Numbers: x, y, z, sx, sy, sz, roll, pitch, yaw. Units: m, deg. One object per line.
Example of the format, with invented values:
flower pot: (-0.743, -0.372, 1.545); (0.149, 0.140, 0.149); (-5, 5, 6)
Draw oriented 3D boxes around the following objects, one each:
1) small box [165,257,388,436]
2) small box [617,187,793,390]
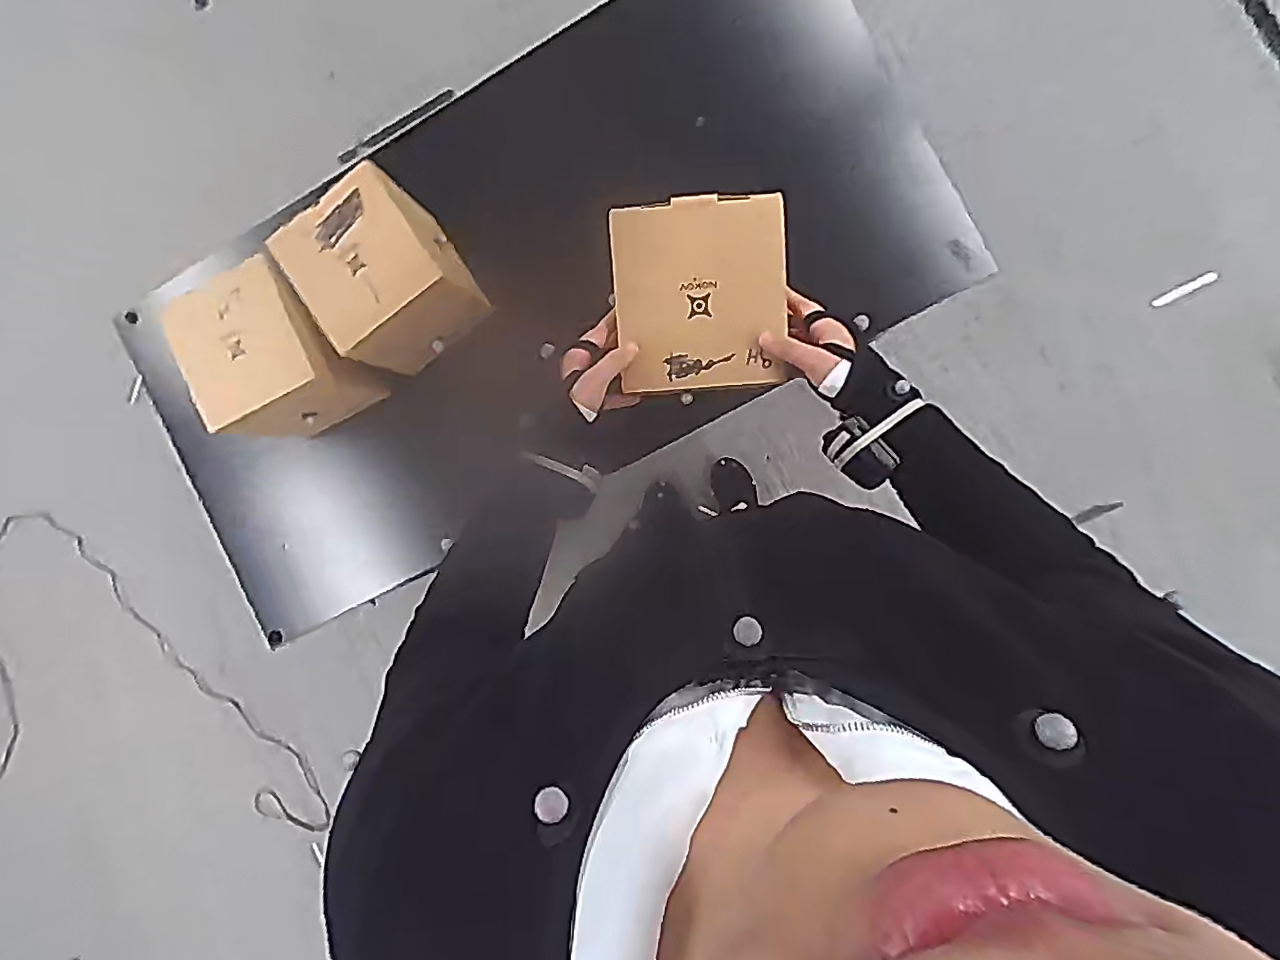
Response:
small box: (-0.494, -0.172, 0.762); (0.168, 0.176, 0.179); (-25, 88, 7)
small box: (0.068, -0.193, 0.595); (0.168, 0.176, 0.179); (-3, 98, 5)
